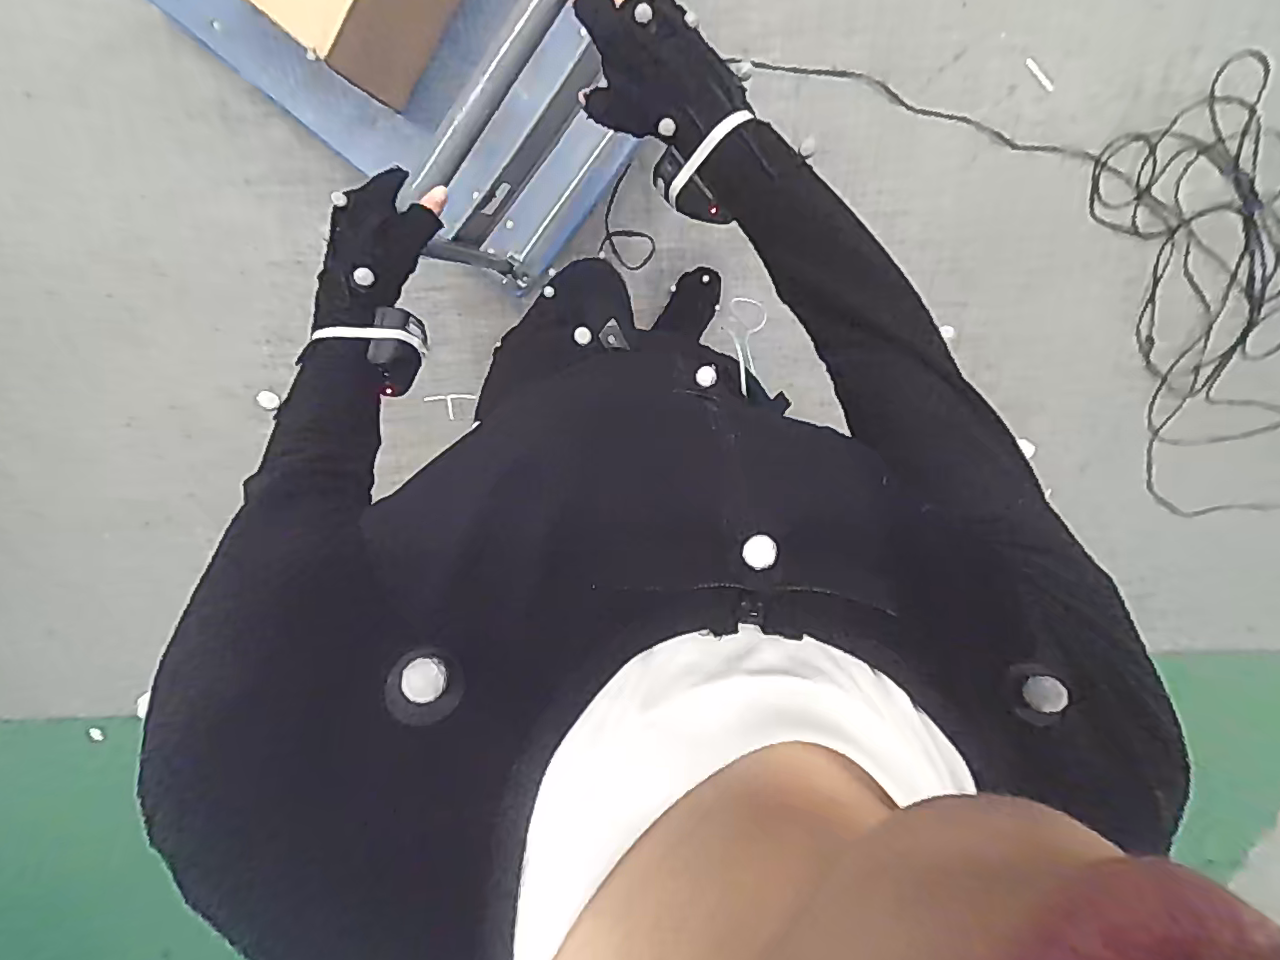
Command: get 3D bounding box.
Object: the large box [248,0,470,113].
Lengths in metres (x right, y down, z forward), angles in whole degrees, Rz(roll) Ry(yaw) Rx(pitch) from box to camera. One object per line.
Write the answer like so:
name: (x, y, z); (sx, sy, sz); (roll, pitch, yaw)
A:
large box: (-0.434, -0.870, 0.806); (0.320, 0.320, 0.408); (36, 107, -15)
